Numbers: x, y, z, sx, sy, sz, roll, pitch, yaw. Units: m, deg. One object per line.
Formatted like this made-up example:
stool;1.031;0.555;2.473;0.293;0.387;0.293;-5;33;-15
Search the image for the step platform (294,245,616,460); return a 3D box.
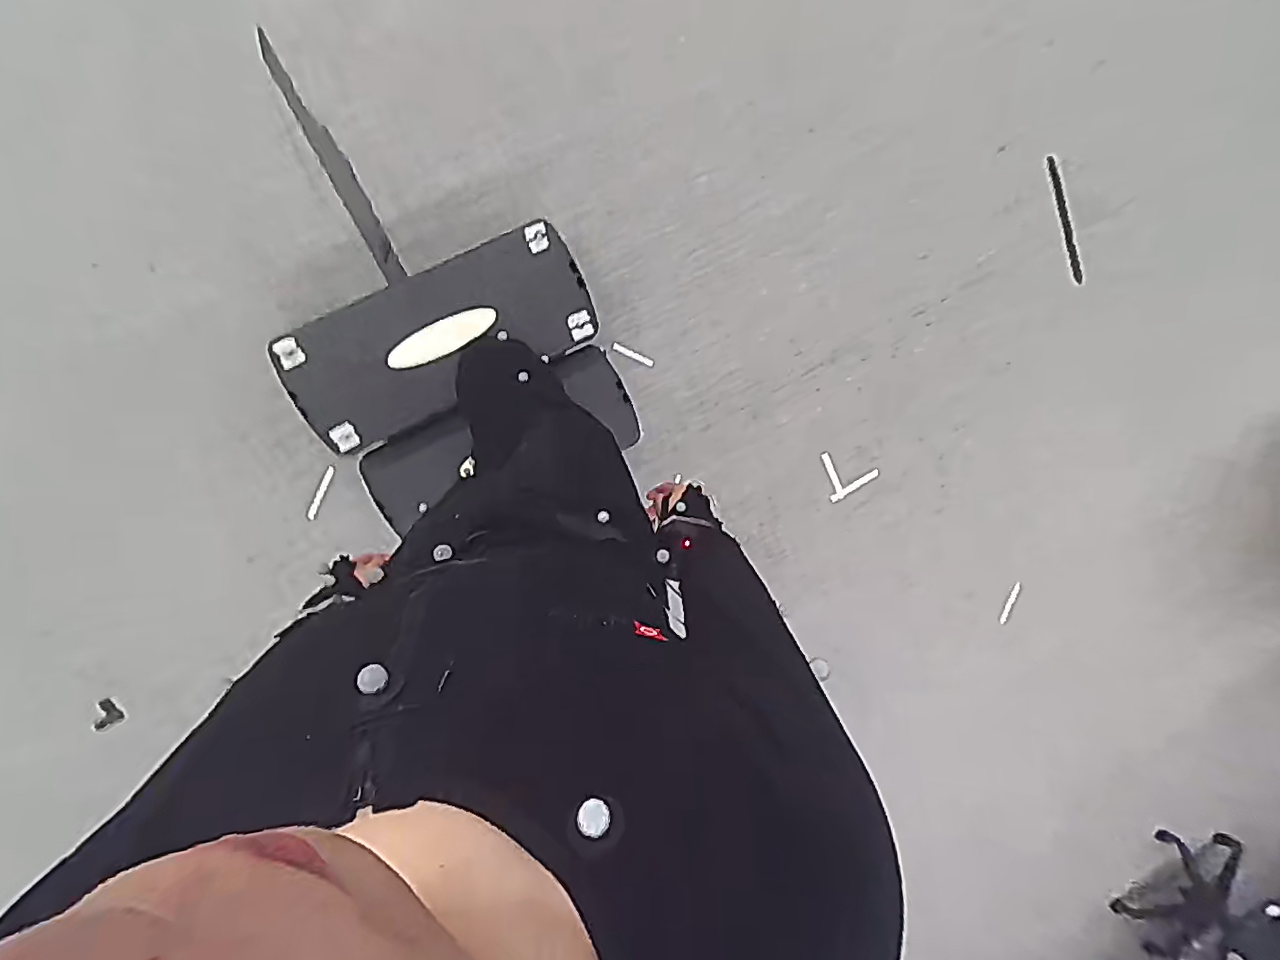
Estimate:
step platform;-0.403;-0.295;1.259;0.684;0.204;0.286;-24;104;-9
